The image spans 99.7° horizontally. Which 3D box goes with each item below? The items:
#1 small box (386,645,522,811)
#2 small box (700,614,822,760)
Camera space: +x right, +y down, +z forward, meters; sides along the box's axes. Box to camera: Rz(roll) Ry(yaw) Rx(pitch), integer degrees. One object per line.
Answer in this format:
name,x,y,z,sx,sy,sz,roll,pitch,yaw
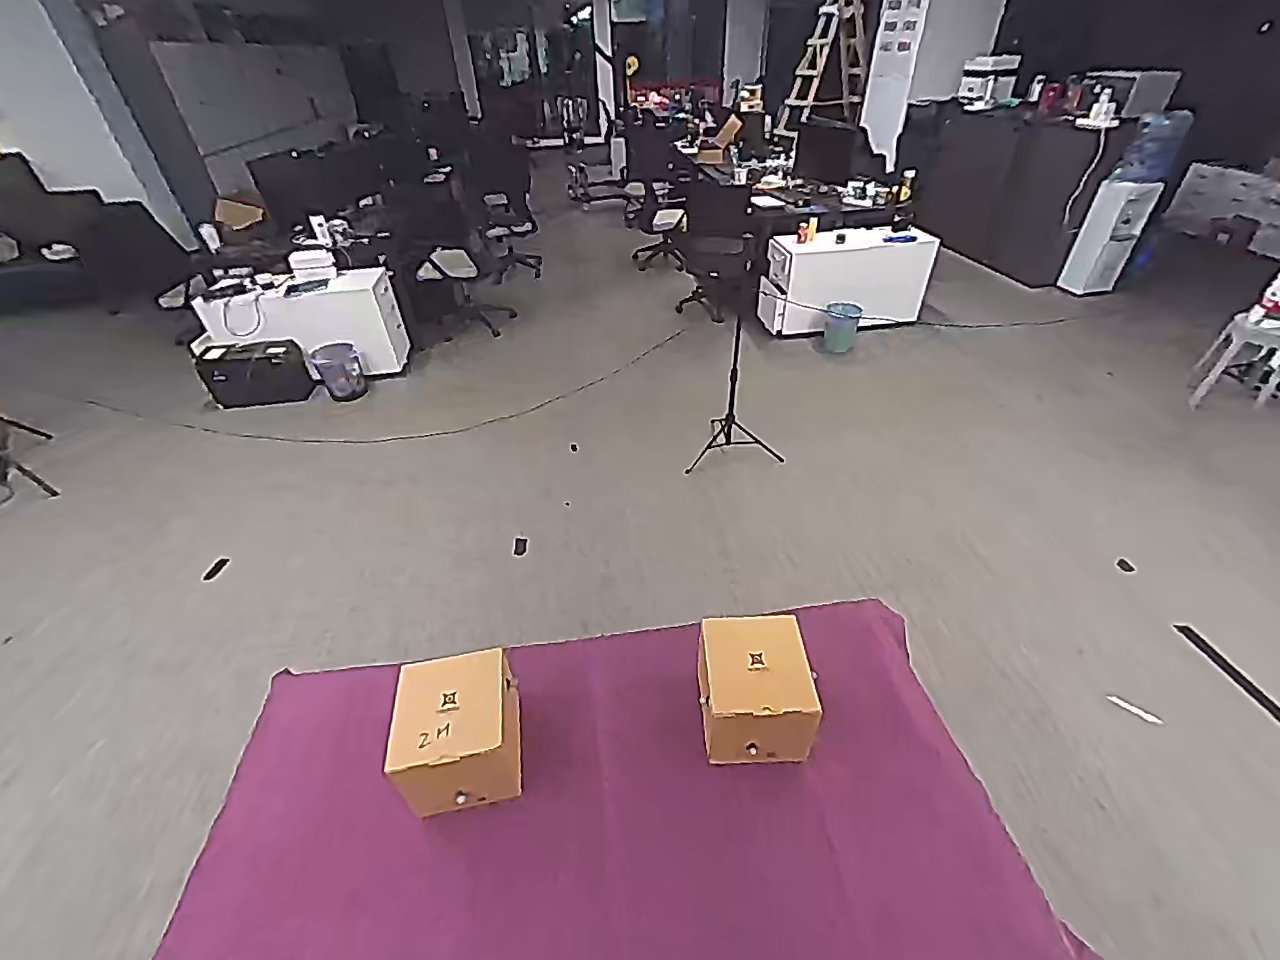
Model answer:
small box,-0.291,0.403,0.884,0.168,0.176,0.179,-8,39,-7
small box,0.193,0.351,0.923,0.168,0.176,0.179,-3,40,1
